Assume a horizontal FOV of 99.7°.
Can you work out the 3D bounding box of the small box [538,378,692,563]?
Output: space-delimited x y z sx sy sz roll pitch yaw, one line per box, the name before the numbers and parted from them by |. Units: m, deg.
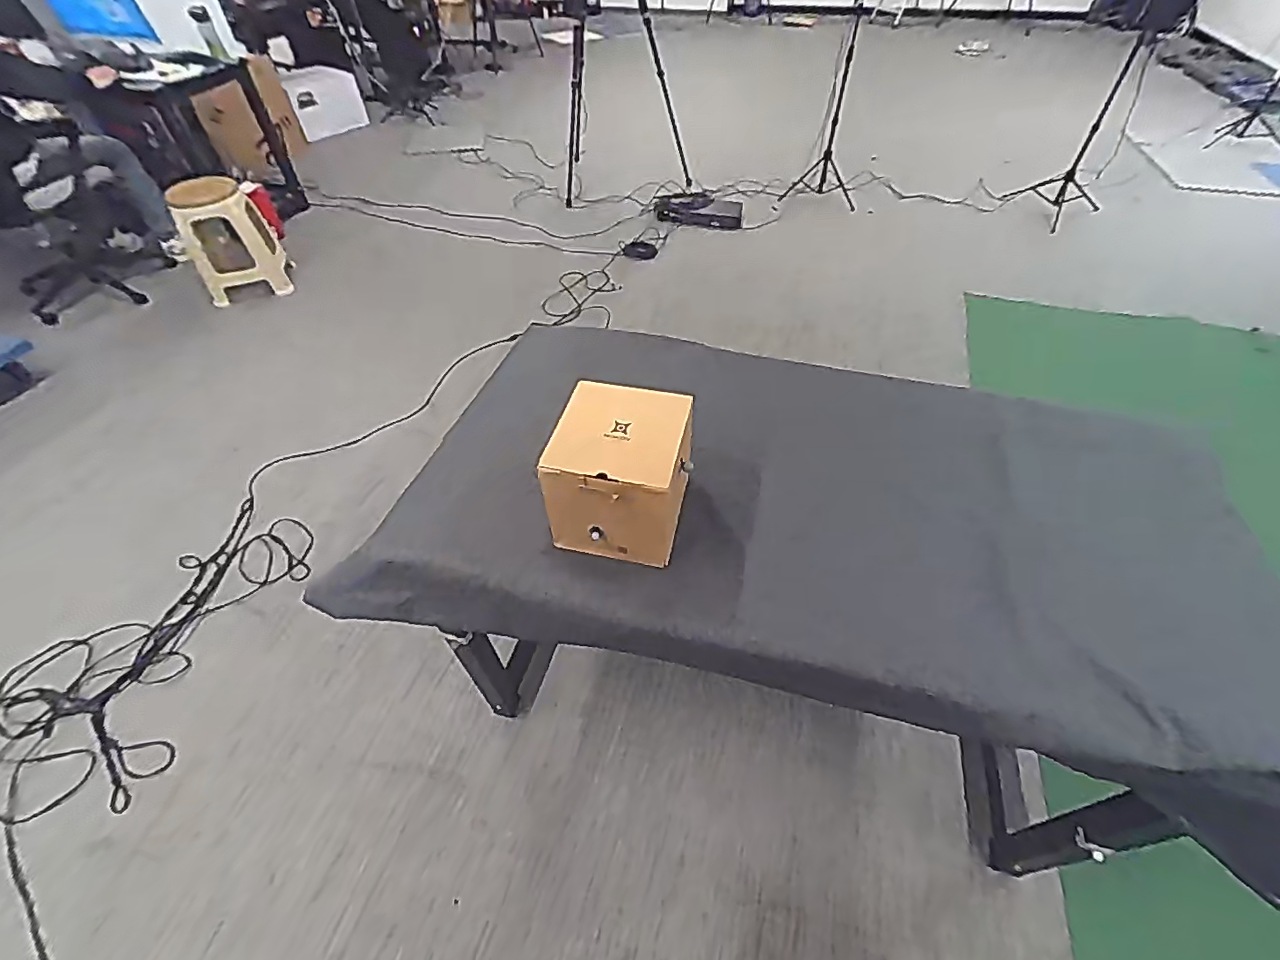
small box | -0.028 -0.013 0.752 0.168 0.176 0.179 9 50 9
